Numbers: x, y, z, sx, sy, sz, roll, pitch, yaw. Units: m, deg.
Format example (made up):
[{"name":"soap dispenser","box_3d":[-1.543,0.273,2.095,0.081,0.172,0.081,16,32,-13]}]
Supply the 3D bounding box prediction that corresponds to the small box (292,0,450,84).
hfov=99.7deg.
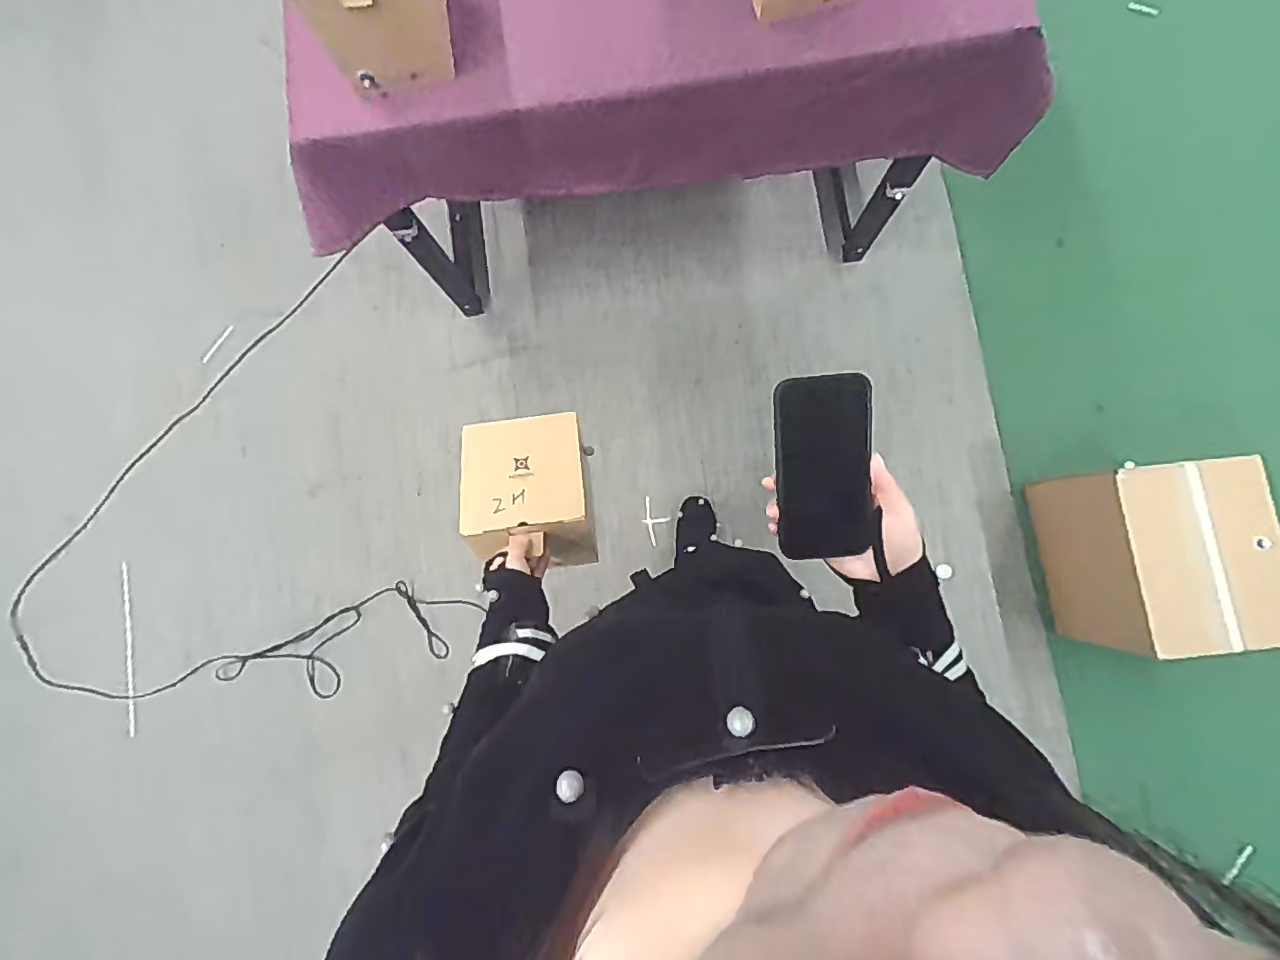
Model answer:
[{"name":"small box","box_3d":[-0.398,-0.733,0.806,0.168,0.176,0.179,-9,82,1]}]

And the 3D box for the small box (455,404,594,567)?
[{"name":"small box","box_3d":[-0.163,0.013,0.804,0.168,0.176,0.179,-7,61,-1]}]
